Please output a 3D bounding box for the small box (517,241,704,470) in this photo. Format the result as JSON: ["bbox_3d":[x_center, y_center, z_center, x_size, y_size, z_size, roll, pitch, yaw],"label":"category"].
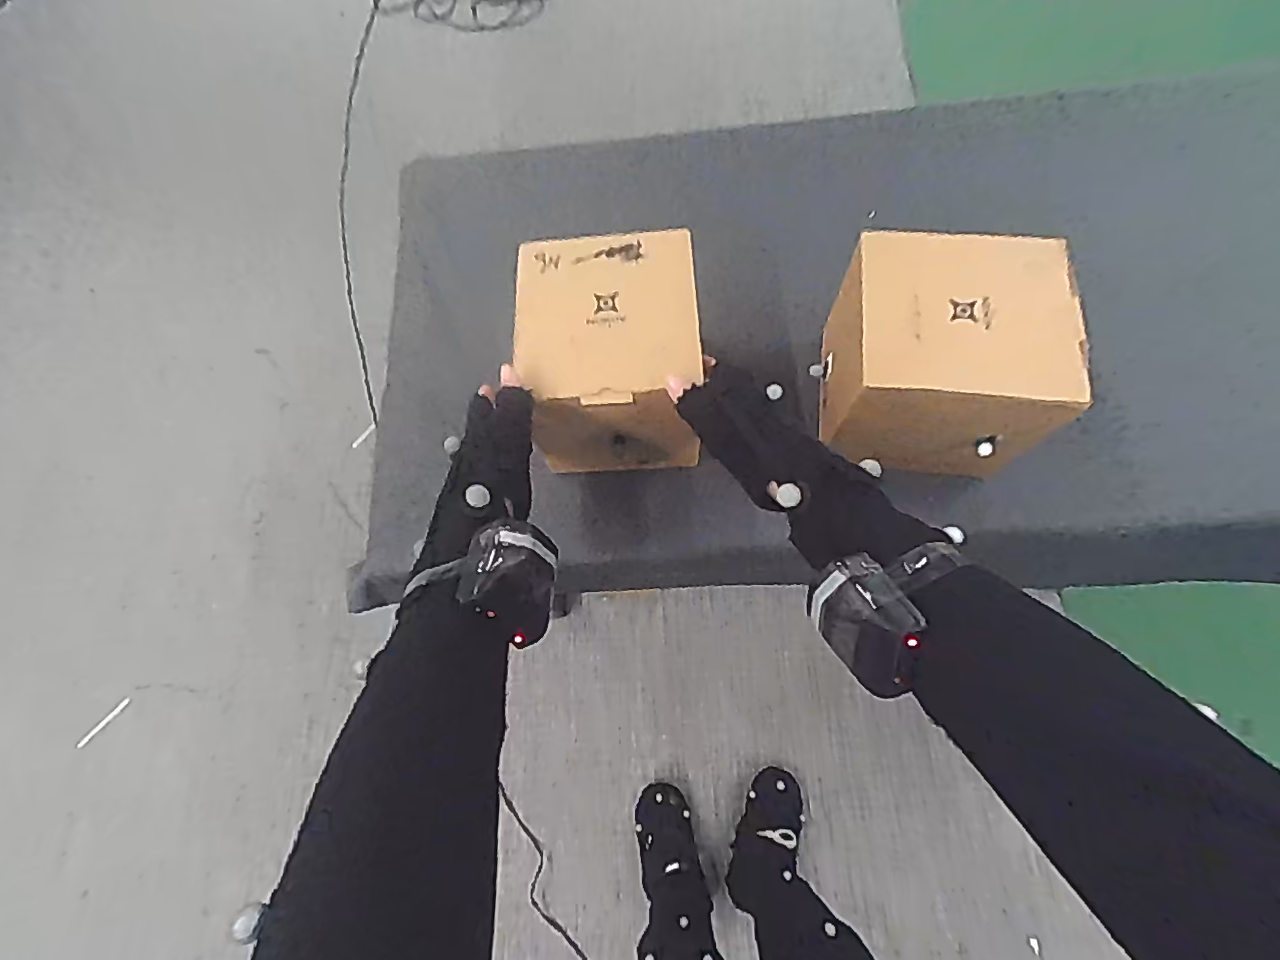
[{"bbox_3d":[-0.020,-0.114,0.562,0.168,0.176,0.179,-2,70,3],"label":"small box"}]

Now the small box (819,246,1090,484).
[{"bbox_3d":[0.288,-0.103,0.536,0.179,0.176,0.168,6,70,8],"label":"small box"}]
